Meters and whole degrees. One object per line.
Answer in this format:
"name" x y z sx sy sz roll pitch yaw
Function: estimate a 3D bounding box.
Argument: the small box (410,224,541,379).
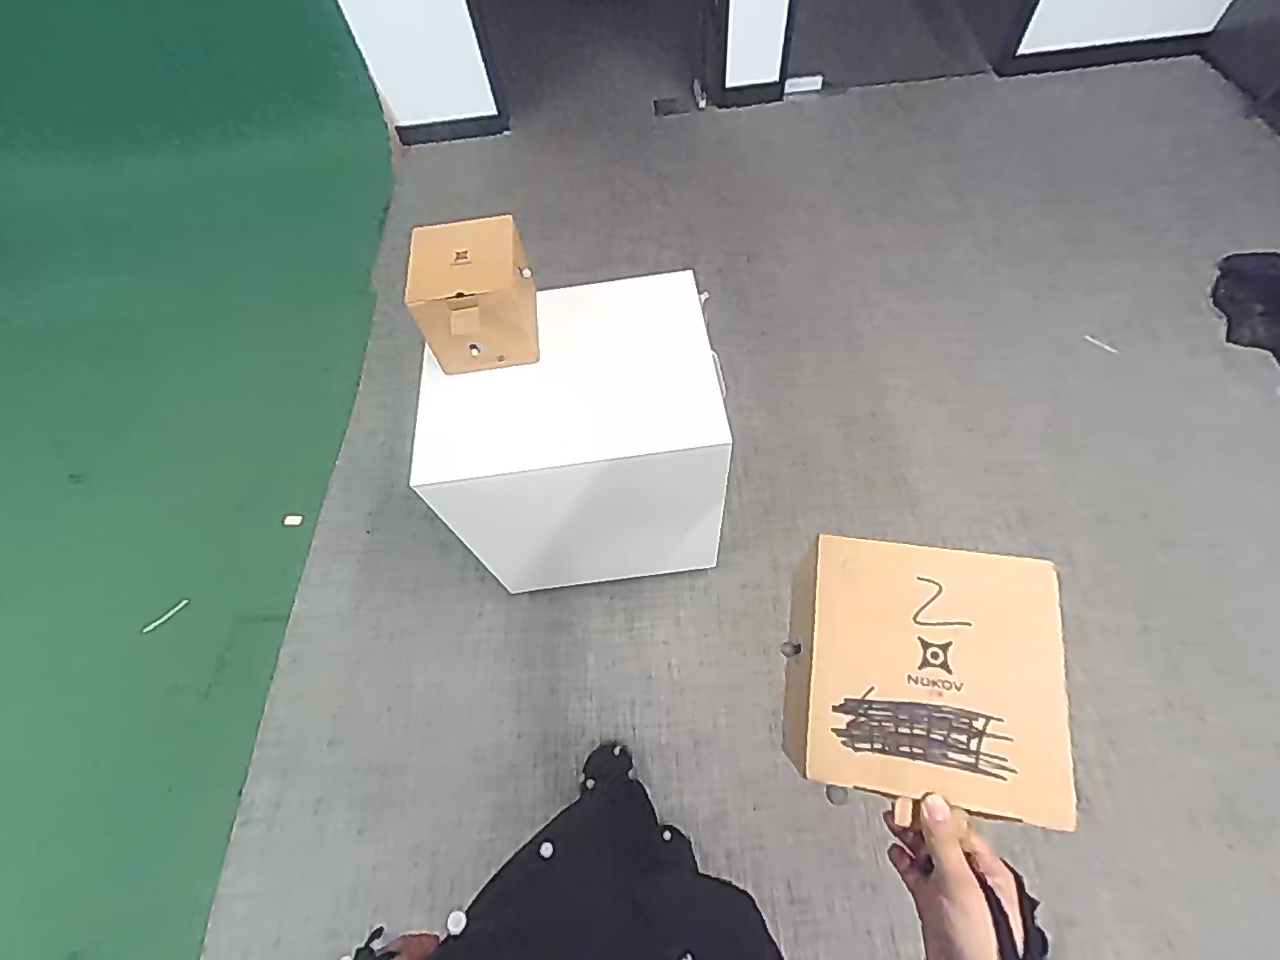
"small box" -0.267 -0.298 0.916 0.168 0.176 0.179 -8 62 0
